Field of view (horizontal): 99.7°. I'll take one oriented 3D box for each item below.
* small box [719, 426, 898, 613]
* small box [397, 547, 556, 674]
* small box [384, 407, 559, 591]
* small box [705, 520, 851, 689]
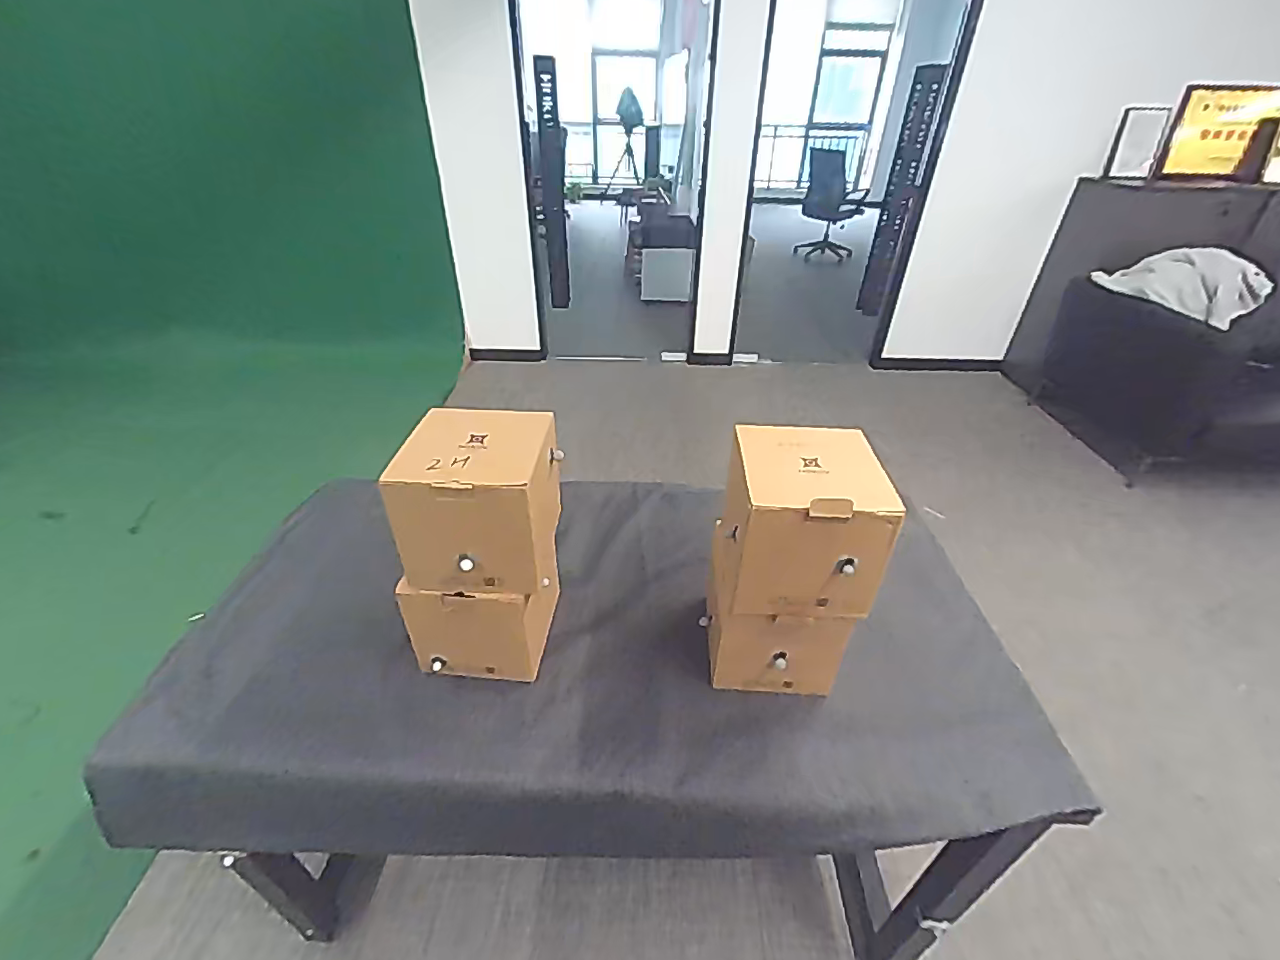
[{"bbox_3d":[0.195,0.049,0.683,0.168,0.176,0.179,3,34,1],"label":"small box"},{"bbox_3d":[-0.221,0.160,0.791,0.168,0.176,0.179,4,34,3],"label":"small box"},{"bbox_3d":[-0.201,0.021,0.704,0.168,0.176,0.179,2,35,1],"label":"small box"},{"bbox_3d":[0.185,0.179,0.781,0.168,0.176,0.179,3,35,2],"label":"small box"}]
